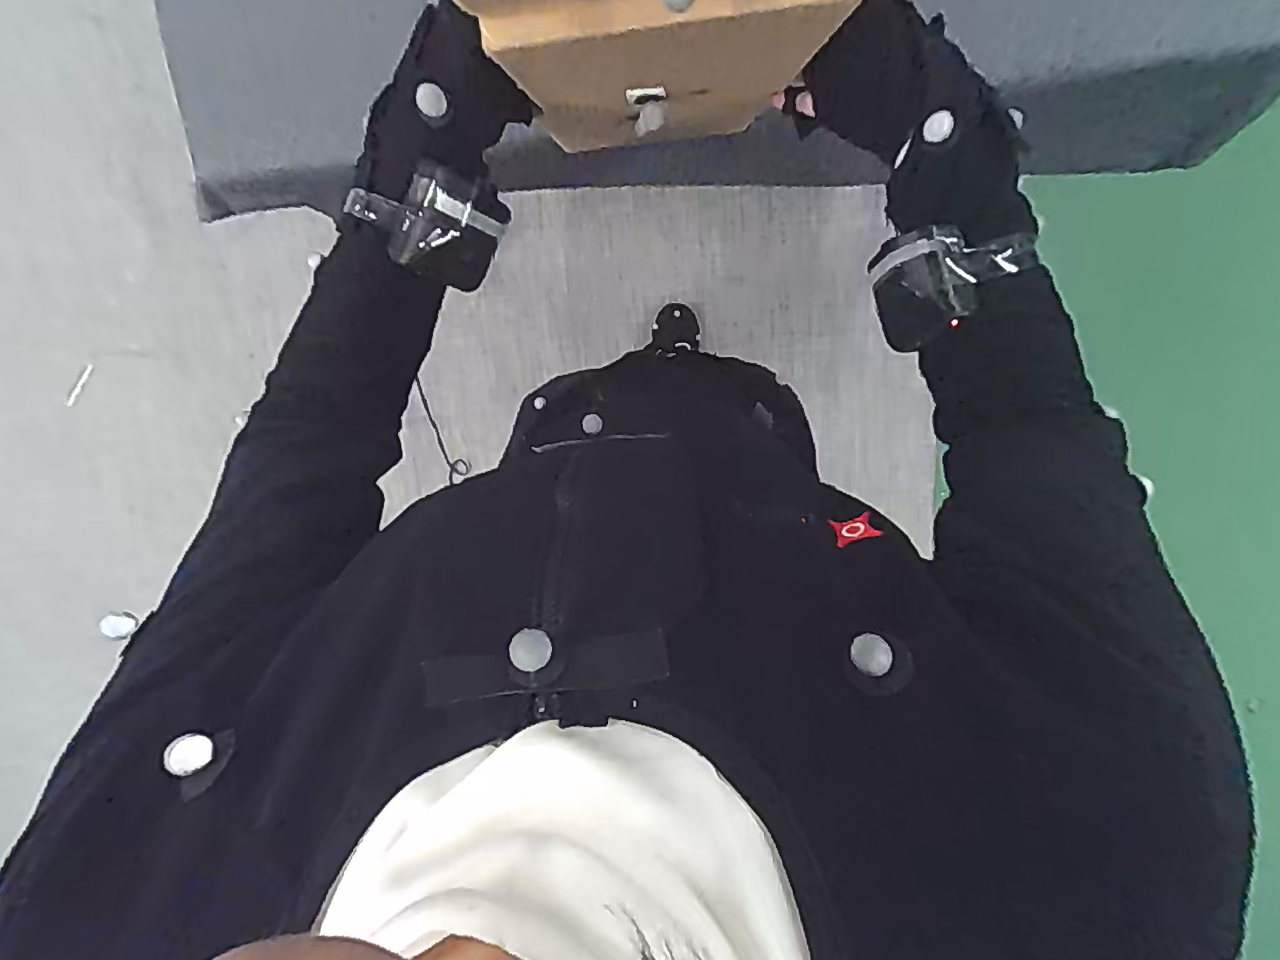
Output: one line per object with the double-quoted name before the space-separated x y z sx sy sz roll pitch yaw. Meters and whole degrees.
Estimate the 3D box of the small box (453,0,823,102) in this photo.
"small box" -0.002 -0.312 0.263 0.168 0.176 0.179 -3 115 5

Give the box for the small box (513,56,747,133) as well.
"small box" -0.002 -0.379 0.412 0.179 0.176 0.168 -4 114 3
